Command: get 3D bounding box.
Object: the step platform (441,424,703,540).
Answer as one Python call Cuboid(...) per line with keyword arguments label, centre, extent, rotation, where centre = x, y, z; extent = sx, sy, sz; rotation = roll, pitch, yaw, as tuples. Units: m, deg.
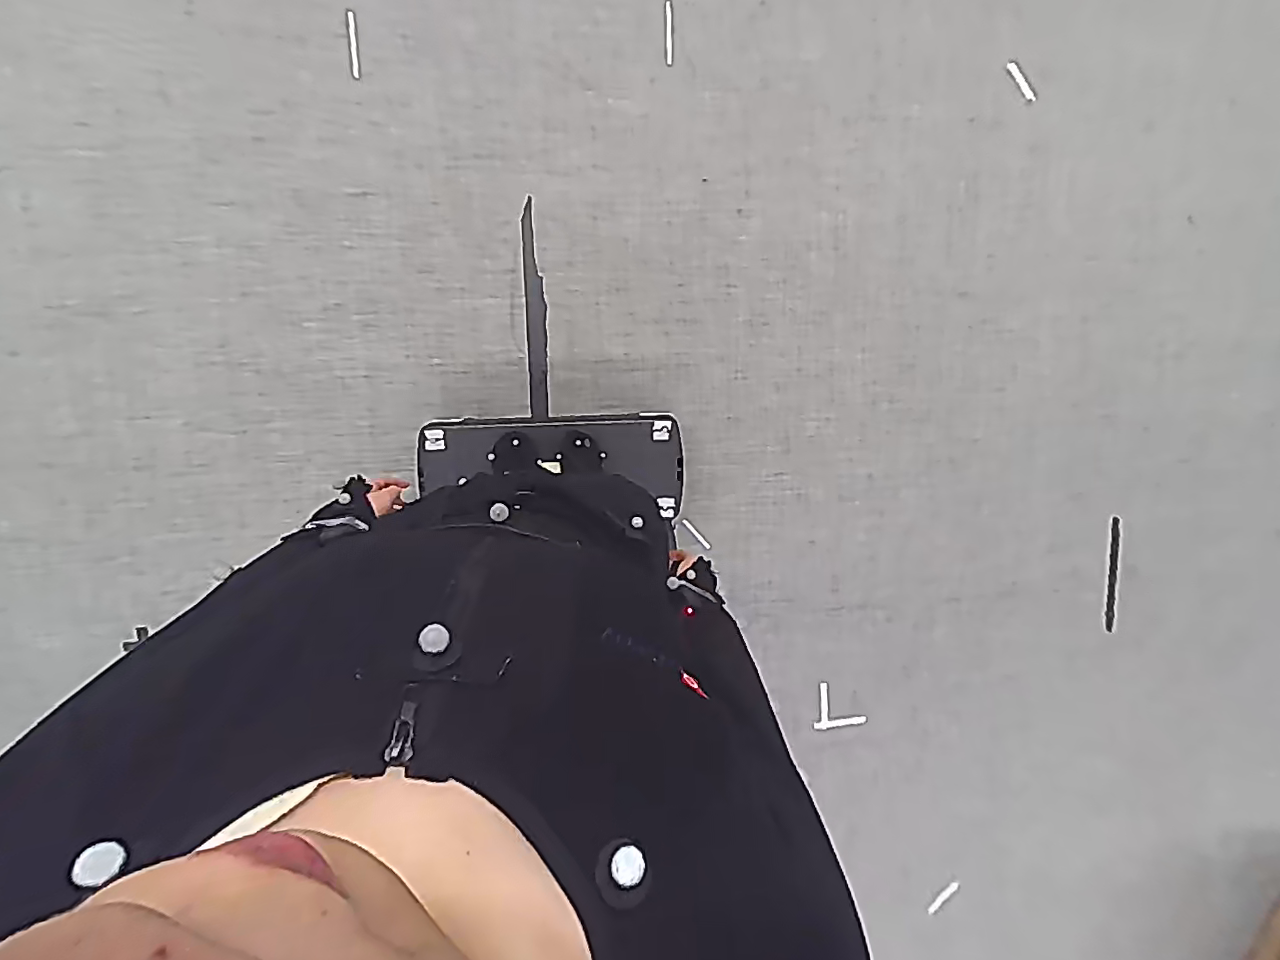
Cuboid(label="step platform", centre=(-0.174, 0.004, 1.456), extent=(0.684, 0.204, 0.286), rotation=(2, 96, -7))
